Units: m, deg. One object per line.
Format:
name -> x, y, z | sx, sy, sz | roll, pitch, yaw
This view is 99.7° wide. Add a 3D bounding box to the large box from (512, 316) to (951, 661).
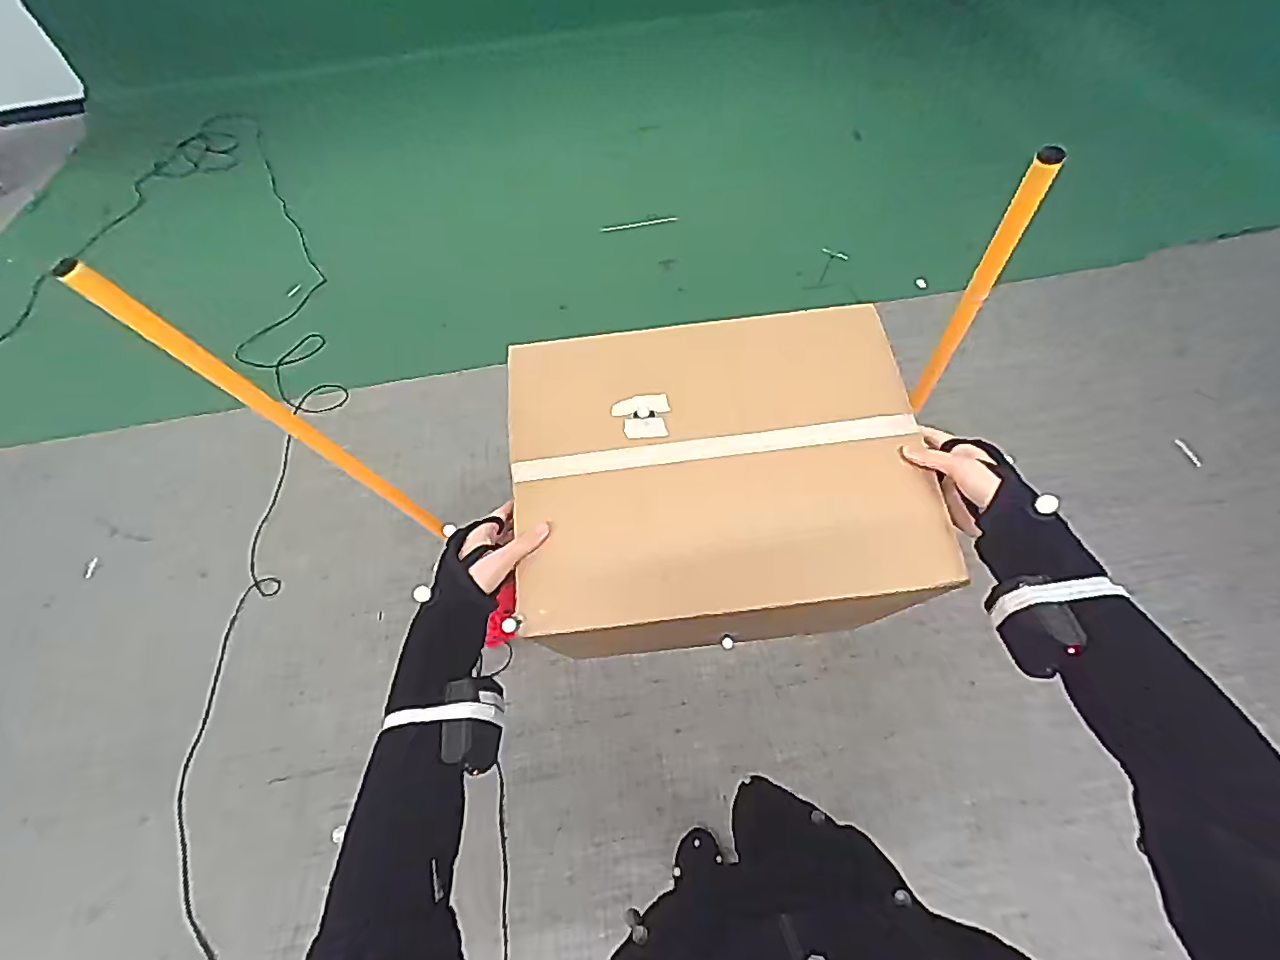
large box -> 0.082, 0.039, 0.687 | 0.408, 0.320, 0.320 | -8, 67, 1
